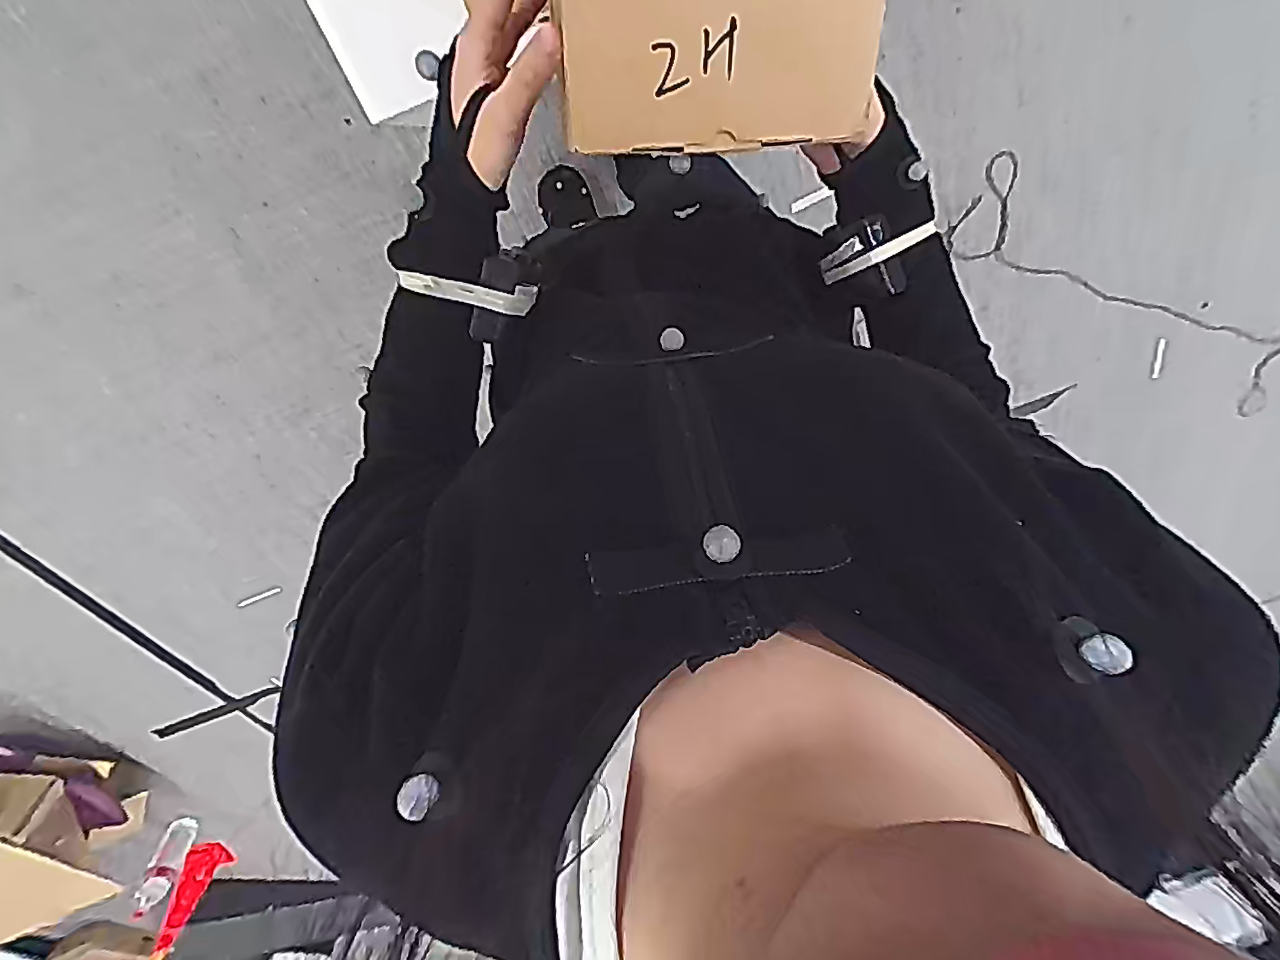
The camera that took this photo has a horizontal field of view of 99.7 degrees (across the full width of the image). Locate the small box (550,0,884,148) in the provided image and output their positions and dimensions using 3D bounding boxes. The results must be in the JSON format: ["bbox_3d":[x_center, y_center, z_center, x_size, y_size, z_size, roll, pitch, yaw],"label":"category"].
[{"bbox_3d":[0.030,-0.303,0.318,0.168,0.176,0.179,-6,122,-5],"label":"small box"}]
